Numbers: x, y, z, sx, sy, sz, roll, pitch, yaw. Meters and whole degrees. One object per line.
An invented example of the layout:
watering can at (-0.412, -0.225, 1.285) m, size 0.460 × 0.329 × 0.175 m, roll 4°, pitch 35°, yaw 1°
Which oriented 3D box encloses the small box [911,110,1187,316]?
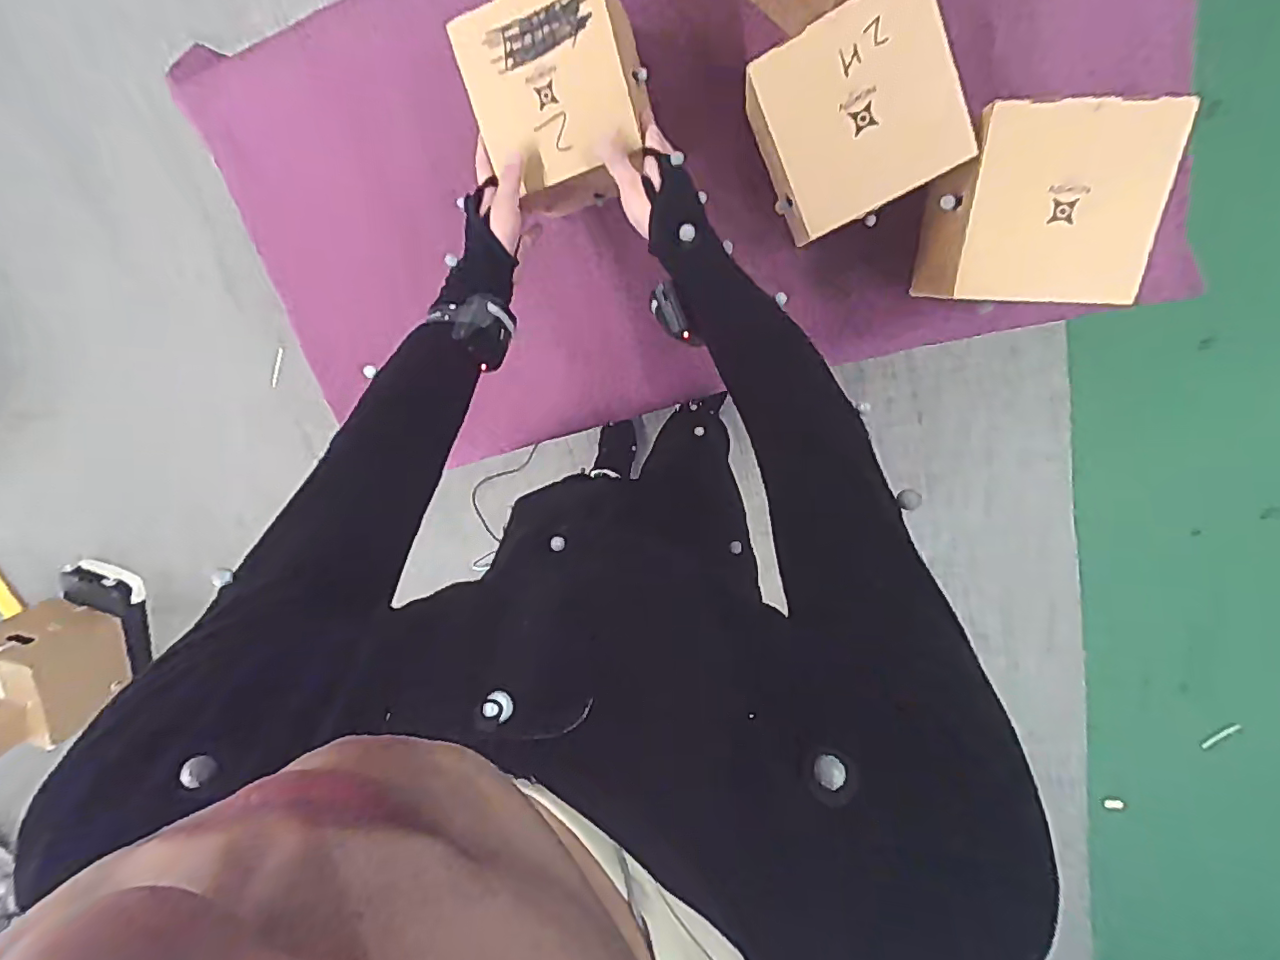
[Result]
small box at (0.414, -0.277, 0.590) m, size 0.168 × 0.176 × 0.179 m, roll 6°, pitch 109°, yaw 10°
